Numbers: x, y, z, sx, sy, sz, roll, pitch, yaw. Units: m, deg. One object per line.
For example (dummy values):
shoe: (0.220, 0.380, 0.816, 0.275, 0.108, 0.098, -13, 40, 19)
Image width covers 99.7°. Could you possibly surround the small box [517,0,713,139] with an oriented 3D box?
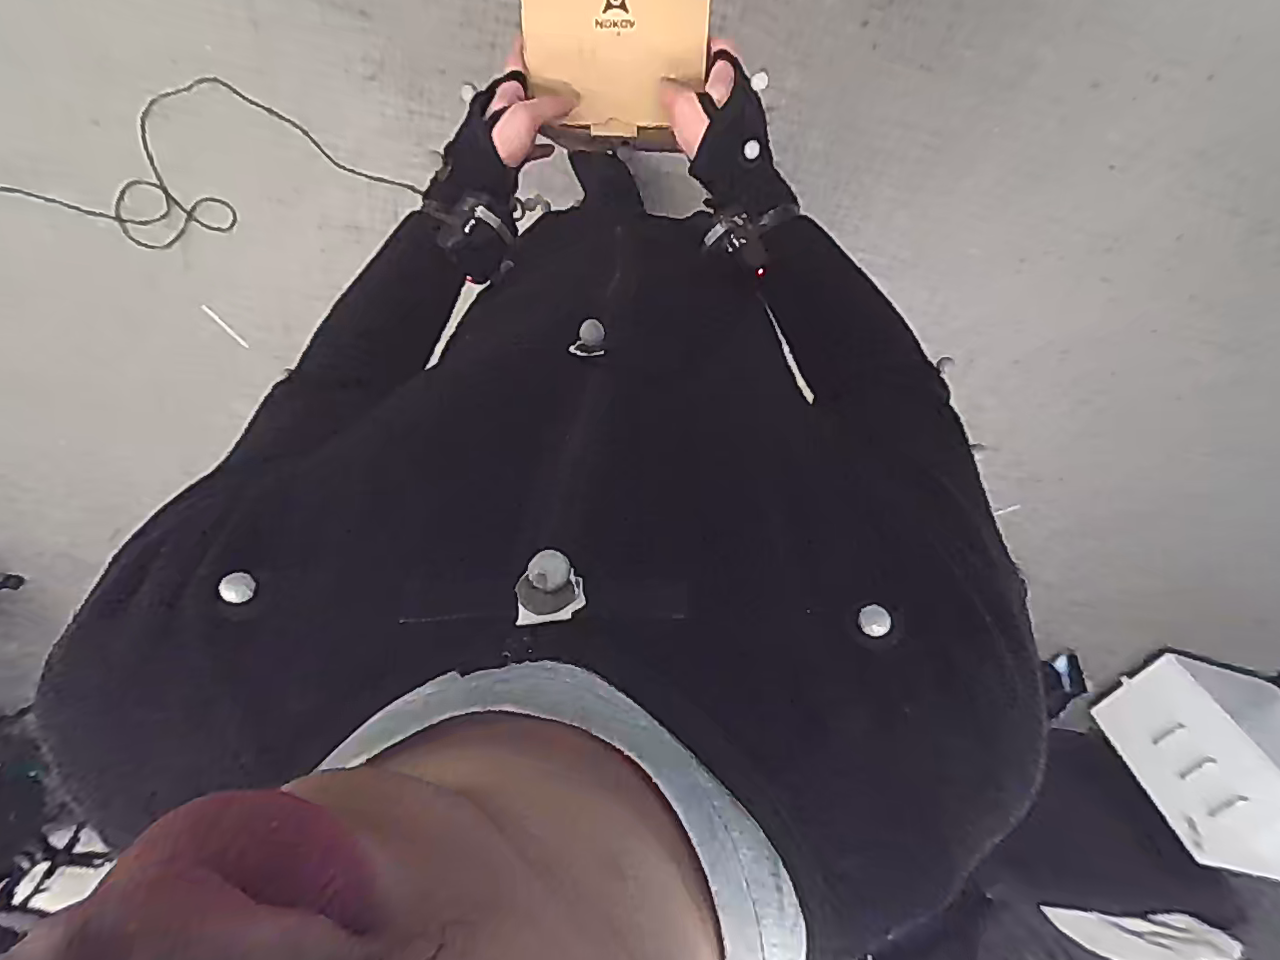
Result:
small box: (-0.015, -0.438, 0.521, 0.168, 0.176, 0.179, 4, 117, 4)
